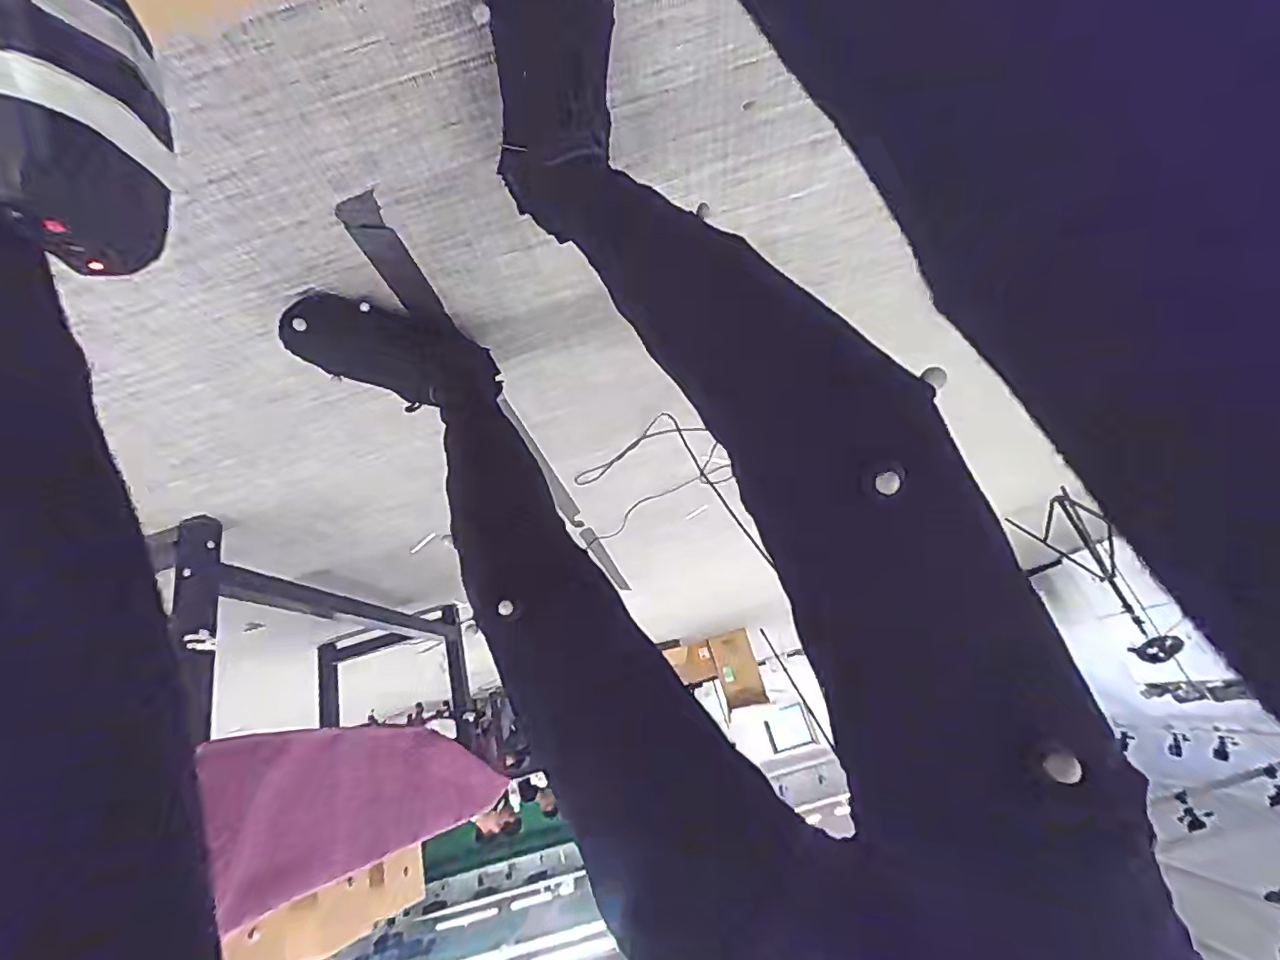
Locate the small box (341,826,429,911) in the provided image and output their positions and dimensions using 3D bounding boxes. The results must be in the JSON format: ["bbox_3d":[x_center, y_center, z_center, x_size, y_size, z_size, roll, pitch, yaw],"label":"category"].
[{"bbox_3d":[-0.756,1.143,1.593,0.179,0.176,0.168,-20,156,10],"label":"small box"}]
